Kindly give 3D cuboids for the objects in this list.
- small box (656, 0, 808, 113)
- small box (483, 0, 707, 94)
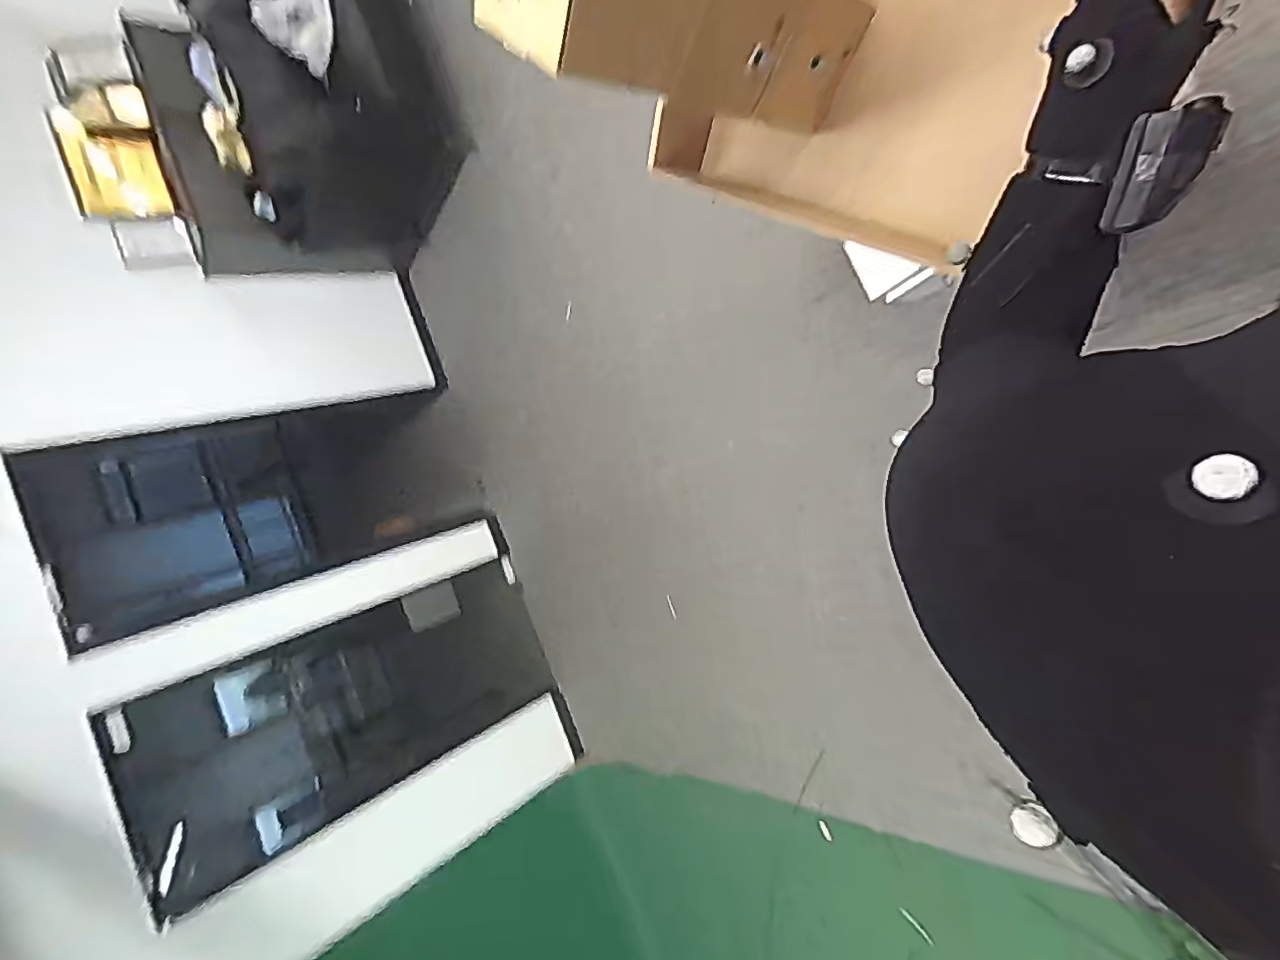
[{"bbox_3d":[0.073,-0.583,0.666,0.179,0.176,0.168,50,139,21],"label":"small box"},{"bbox_3d":[-0.036,-0.533,0.551,0.168,0.176,0.179,49,138,24],"label":"small box"}]
